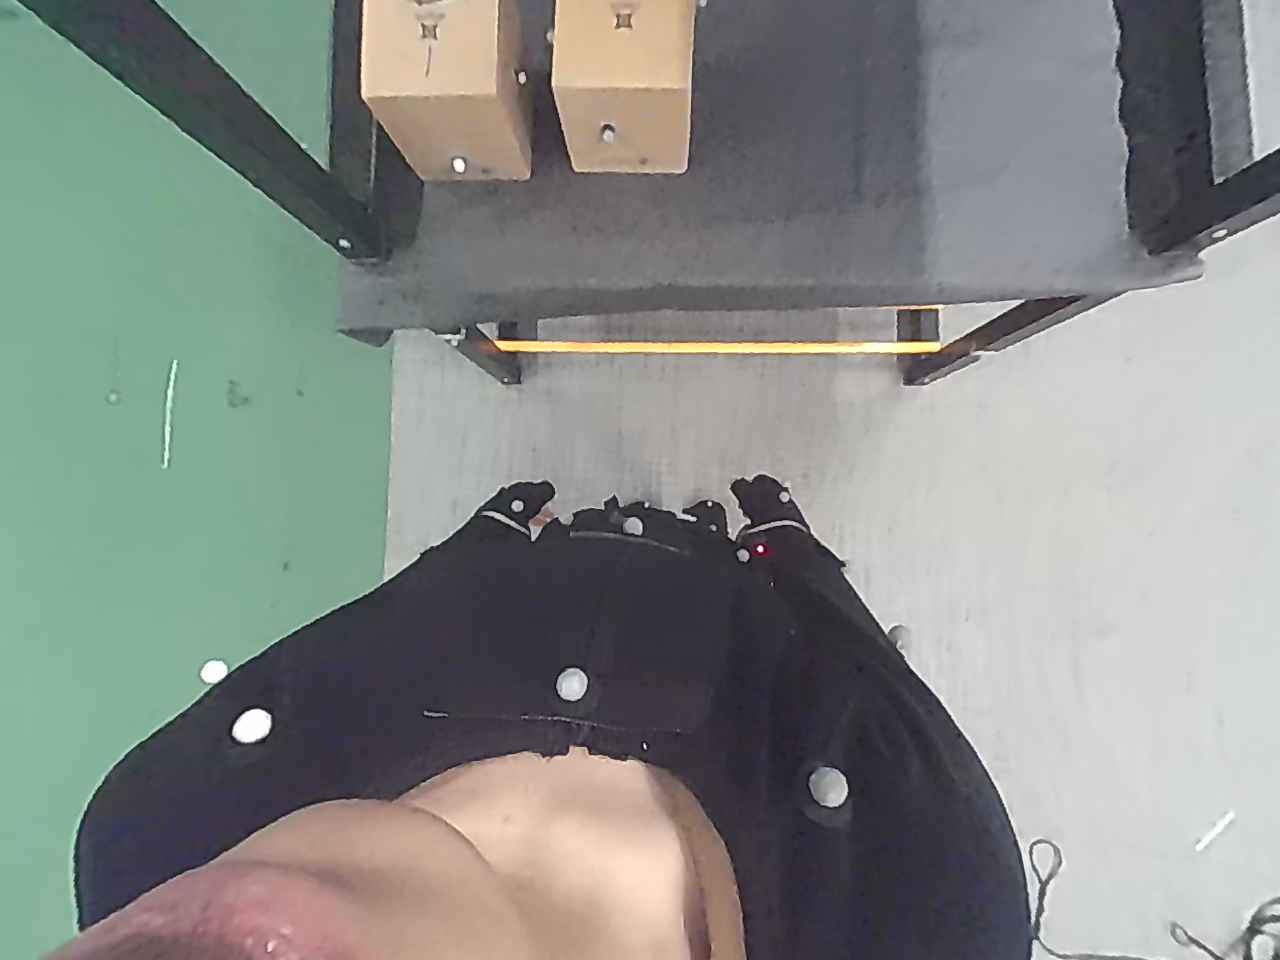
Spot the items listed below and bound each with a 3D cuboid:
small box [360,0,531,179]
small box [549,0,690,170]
[{"bbox_3d":[-0.246,-0.537,0.723,0.168,0.176,0.179,1,87,2],"label":"small box"},{"bbox_3d":[-0.019,-0.542,0.718,0.168,0.176,0.179,2,87,2],"label":"small box"}]
